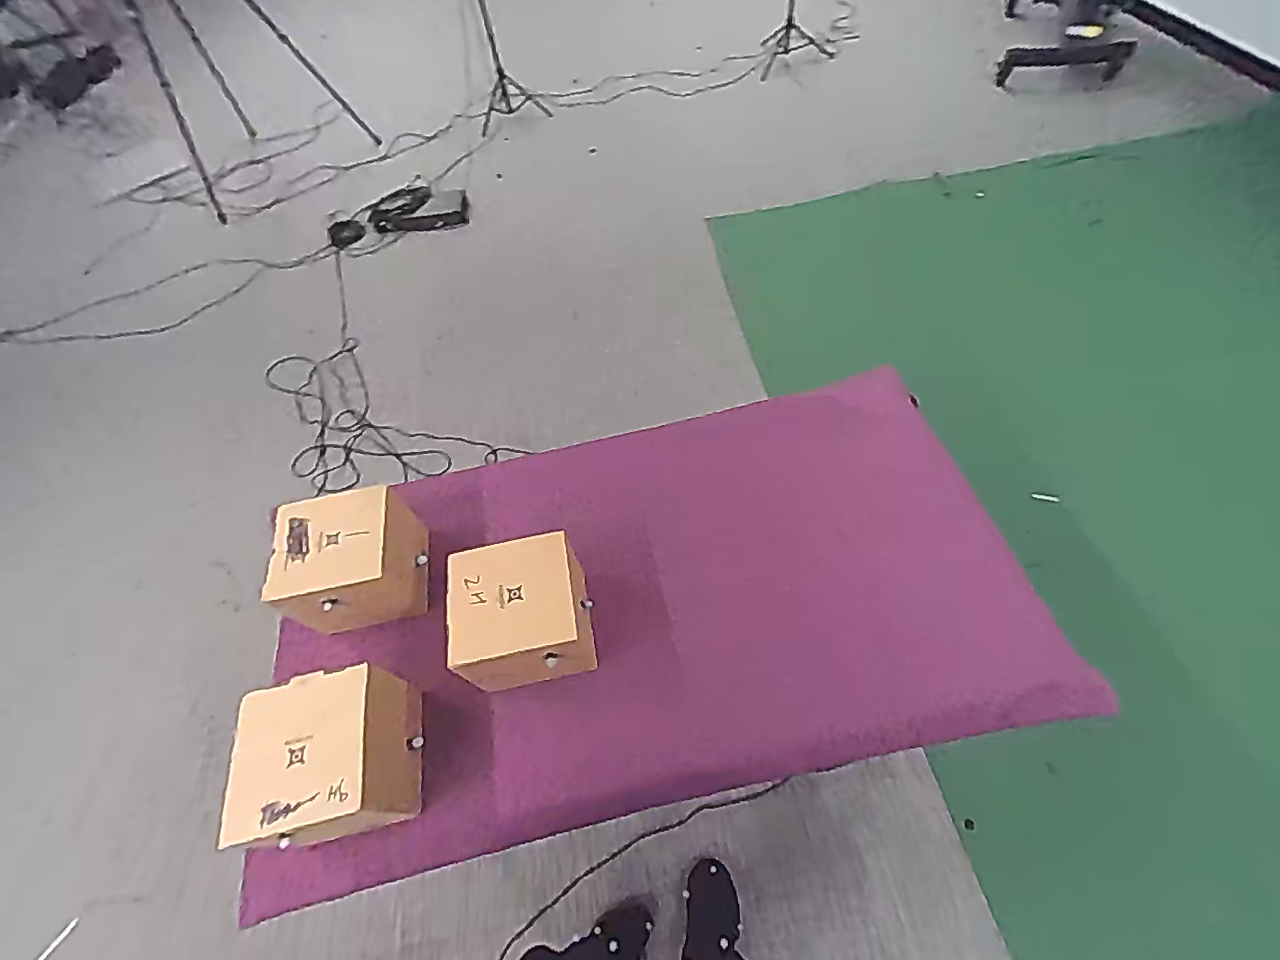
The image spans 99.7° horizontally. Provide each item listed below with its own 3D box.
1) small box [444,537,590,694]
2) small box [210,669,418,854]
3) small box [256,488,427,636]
[{"bbox_3d":[-0.174,0.206,0.805,0.179,0.176,0.168,-11,57,-2],"label":"small box"},{"bbox_3d":[-0.411,0.377,0.719,0.168,0.176,0.179,-14,56,-2],"label":"small box"},{"bbox_3d":[-0.468,0.139,0.877,0.179,0.176,0.168,-11,58,-3],"label":"small box"}]
